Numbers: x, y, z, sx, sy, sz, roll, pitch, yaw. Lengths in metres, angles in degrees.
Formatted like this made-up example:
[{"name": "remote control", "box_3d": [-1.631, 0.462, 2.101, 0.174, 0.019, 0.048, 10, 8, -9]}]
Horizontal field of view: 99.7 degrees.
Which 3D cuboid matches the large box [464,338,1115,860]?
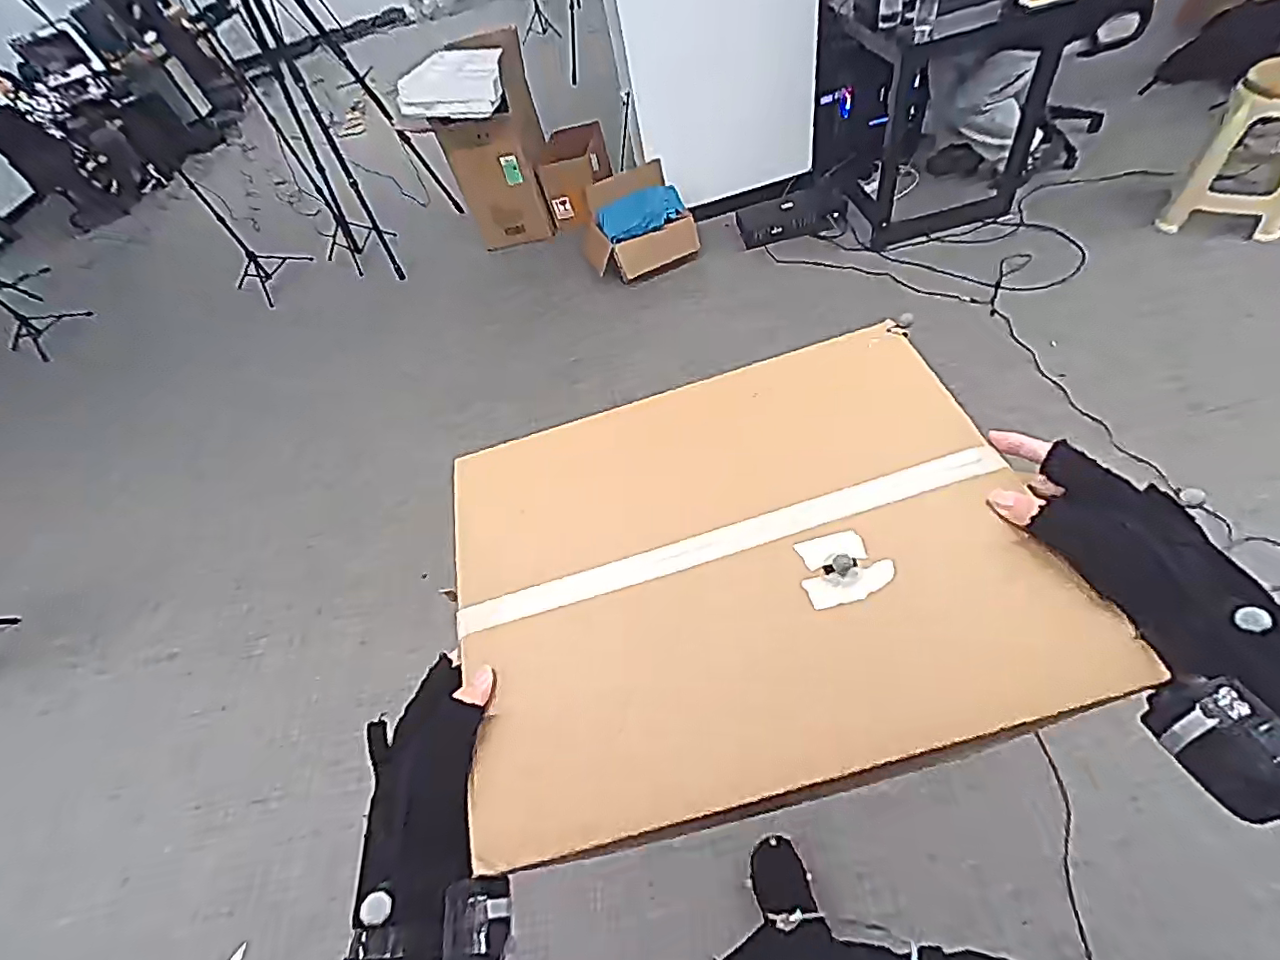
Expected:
[{"name": "large box", "box_3d": [0.089, 0.131, 0.530, 0.408, 0.320, 0.320, -18, 56, 2]}]
